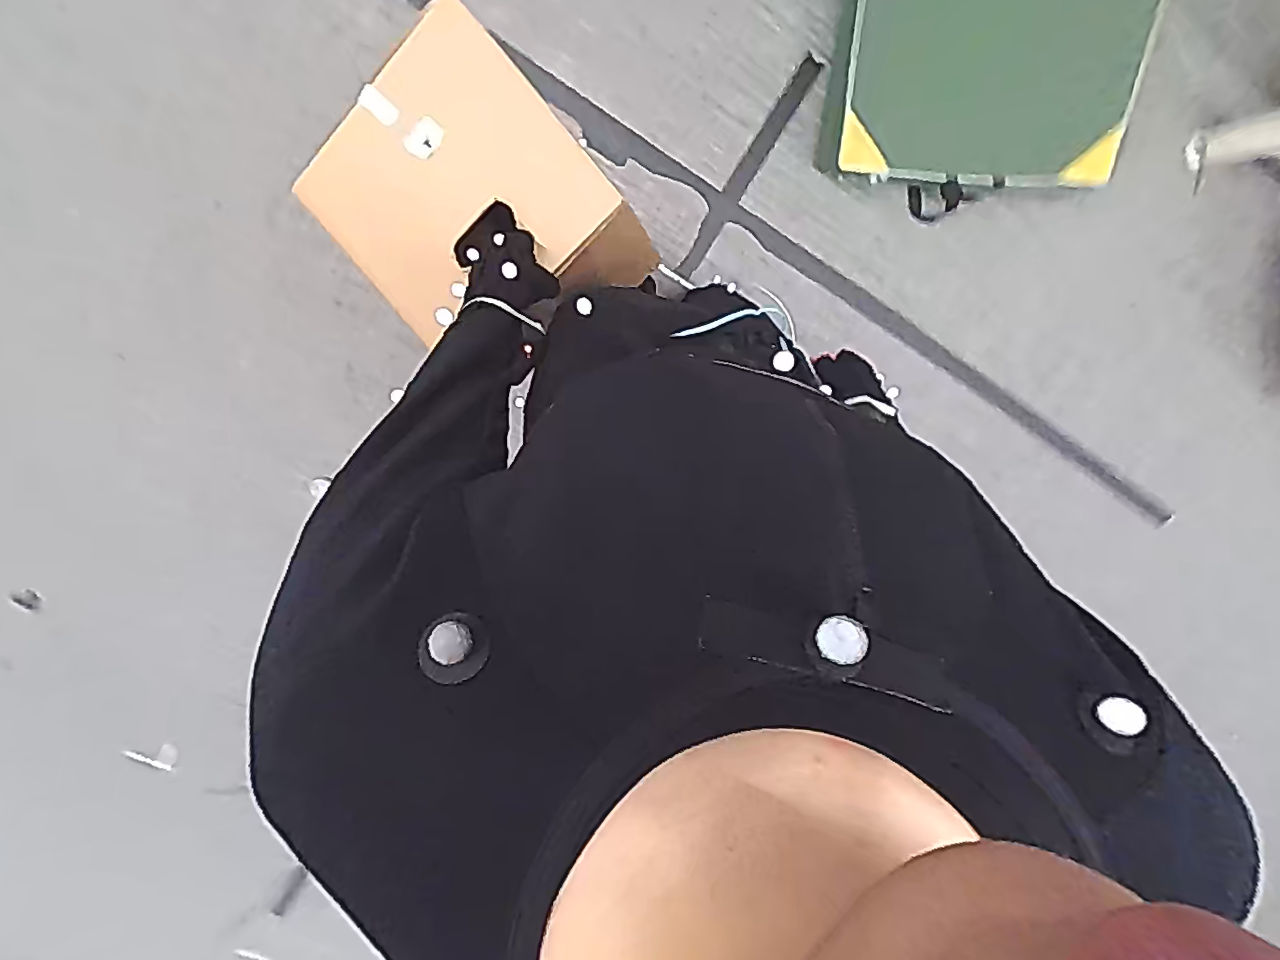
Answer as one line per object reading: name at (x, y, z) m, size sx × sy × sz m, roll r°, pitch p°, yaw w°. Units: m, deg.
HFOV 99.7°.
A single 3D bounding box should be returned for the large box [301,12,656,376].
large box at (-0.212, -0.394, 0.863) m, size 0.320 × 0.408 × 0.320 m, roll -39°, pitch 95°, yaw 16°
